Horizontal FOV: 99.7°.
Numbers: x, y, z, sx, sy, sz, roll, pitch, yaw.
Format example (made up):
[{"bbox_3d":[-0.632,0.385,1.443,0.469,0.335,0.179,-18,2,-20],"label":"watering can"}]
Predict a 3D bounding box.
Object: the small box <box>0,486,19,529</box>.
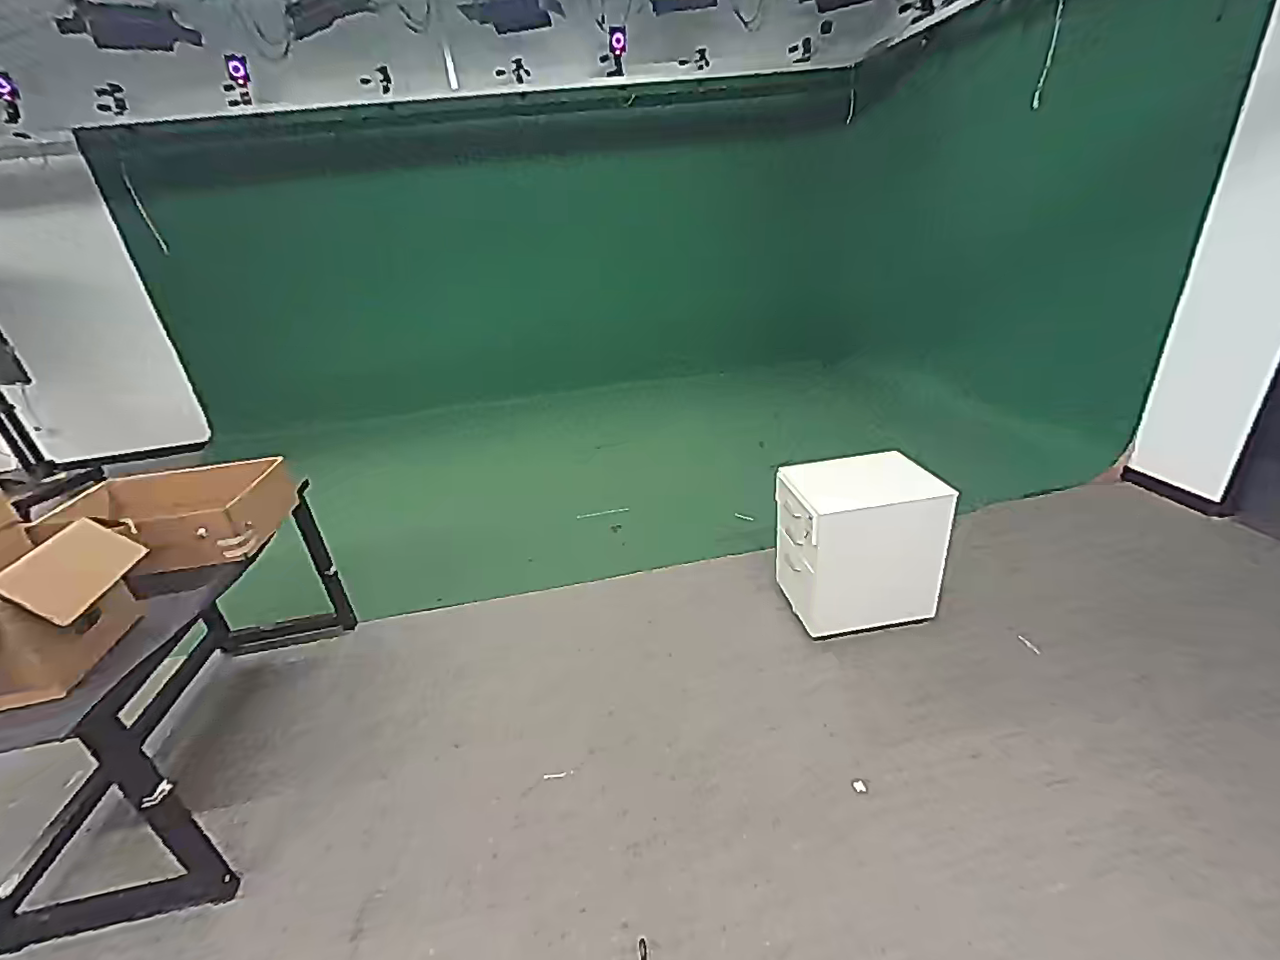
[{"bbox_3d":[-1.522,0.059,1.156,0.168,0.176,0.179,-10,22,-5],"label":"small box"}]
